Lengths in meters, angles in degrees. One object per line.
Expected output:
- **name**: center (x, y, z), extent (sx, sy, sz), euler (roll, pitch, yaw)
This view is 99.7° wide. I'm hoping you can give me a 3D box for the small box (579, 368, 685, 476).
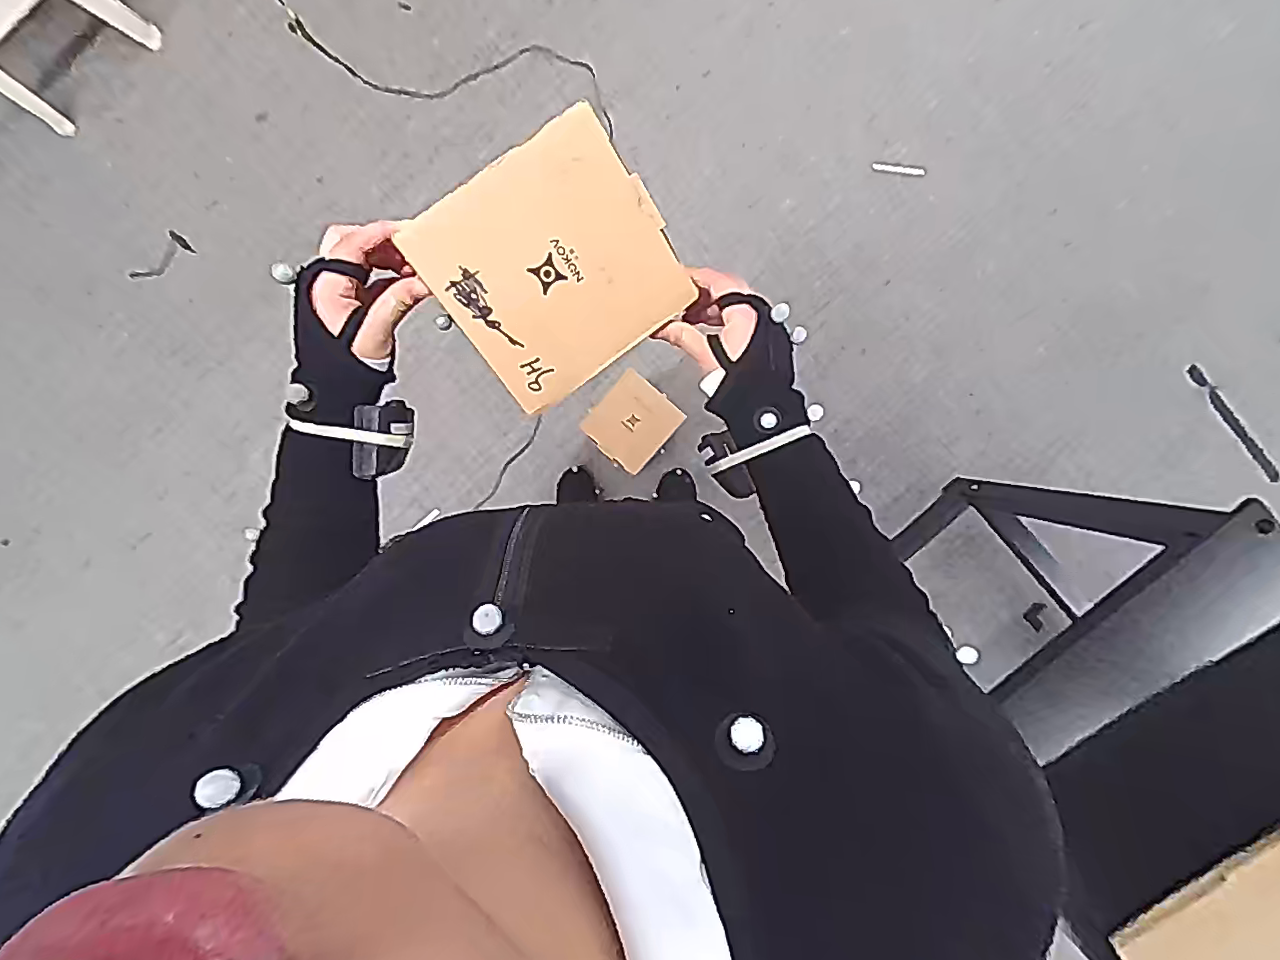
- **small box**: center (-0.015, -0.128, 1.244), extent (0.168, 0.176, 0.179), euler (41, 92, -3)
